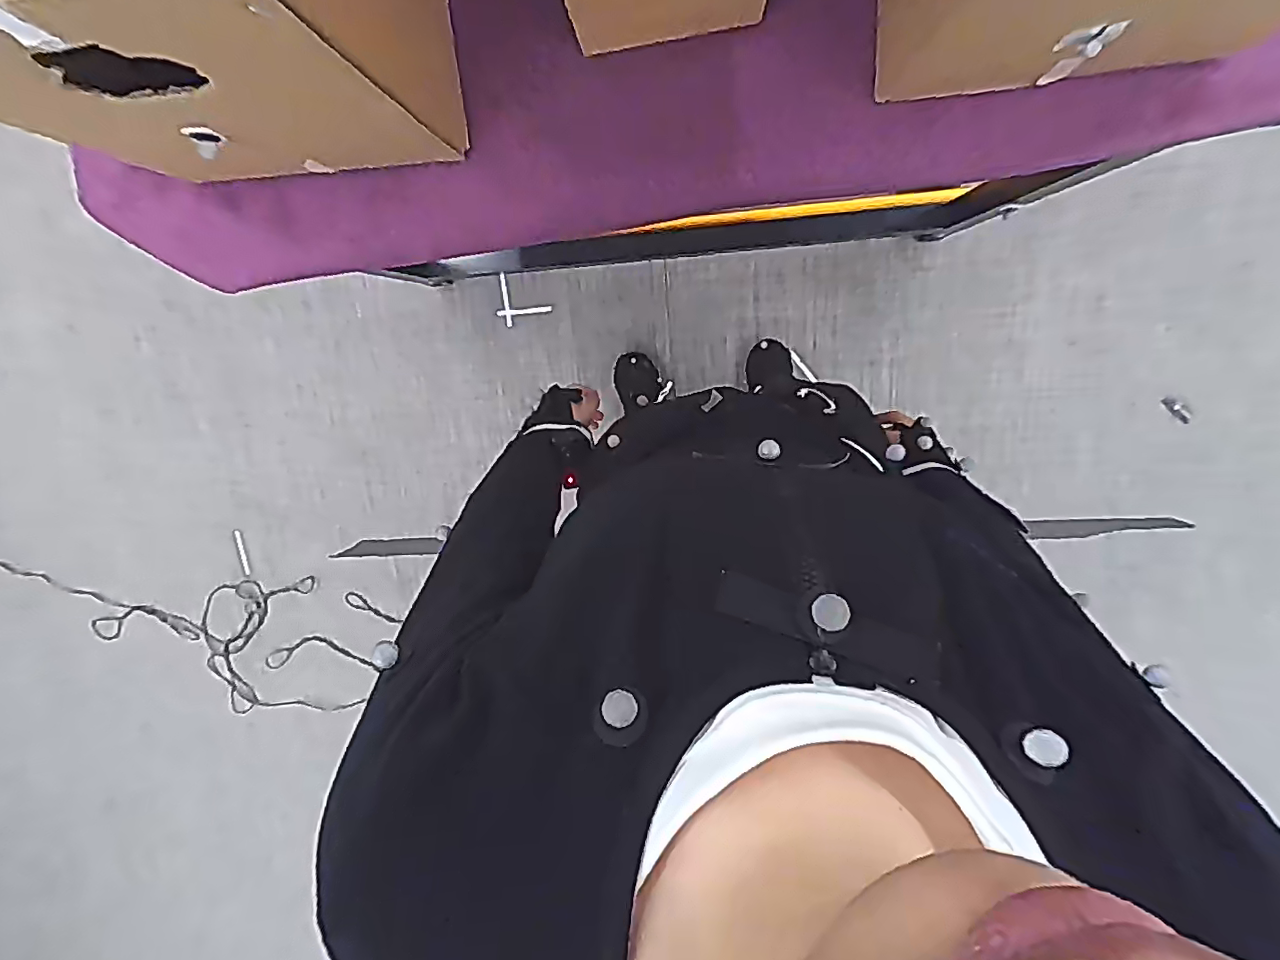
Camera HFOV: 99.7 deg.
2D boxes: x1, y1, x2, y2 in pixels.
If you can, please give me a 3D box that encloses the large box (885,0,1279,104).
[{"bbox_3d":[0.347,-0.520,0.307,0.320,0.320,0.408,-4,103,5],"label":"large box"}]
